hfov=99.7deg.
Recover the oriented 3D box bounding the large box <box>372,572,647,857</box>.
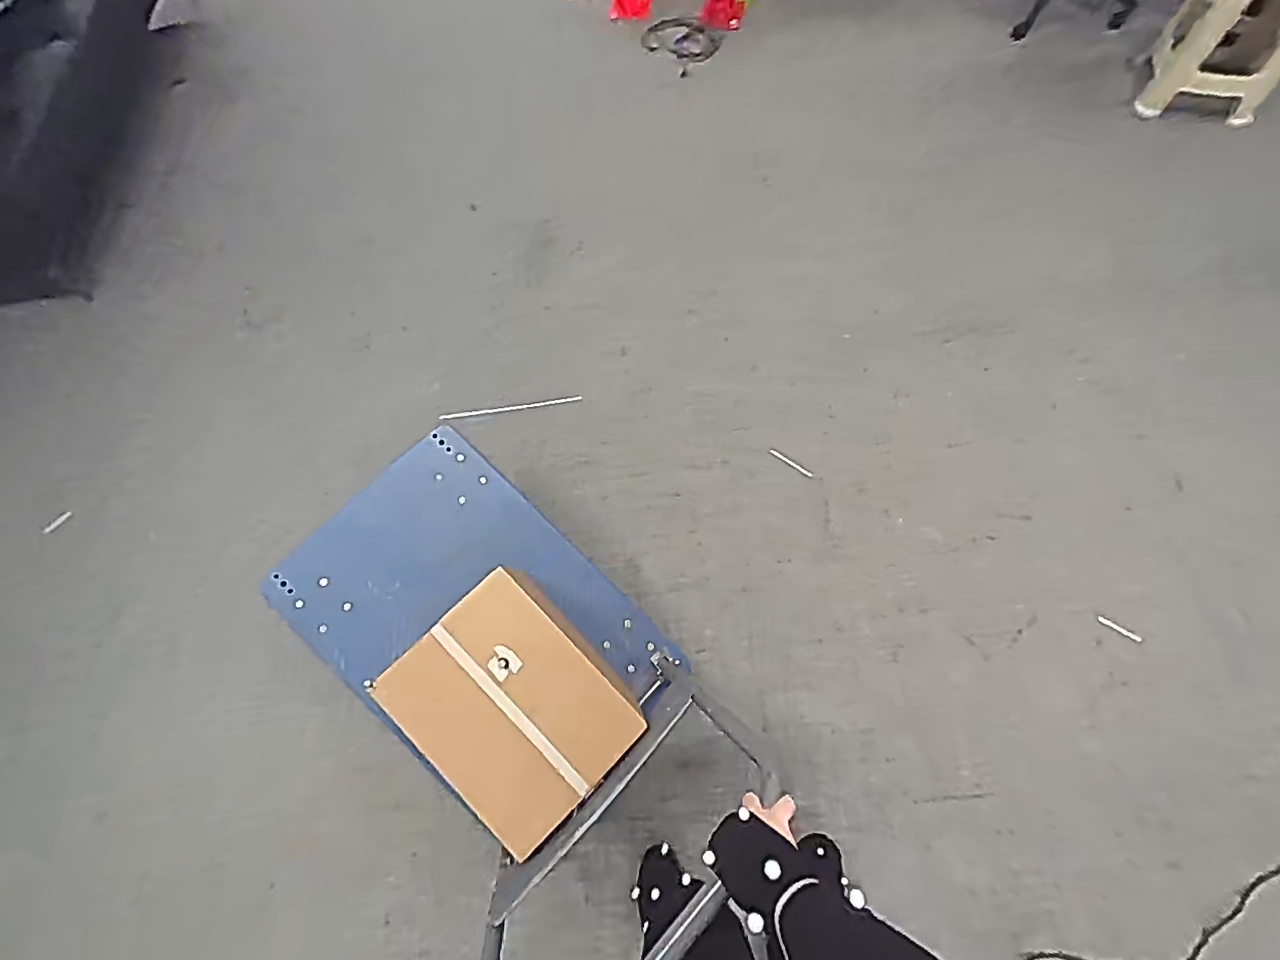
[{"bbox_3d":[-0.239,0.439,1.114,0.408,0.320,0.320,44,78,5],"label":"large box"}]
